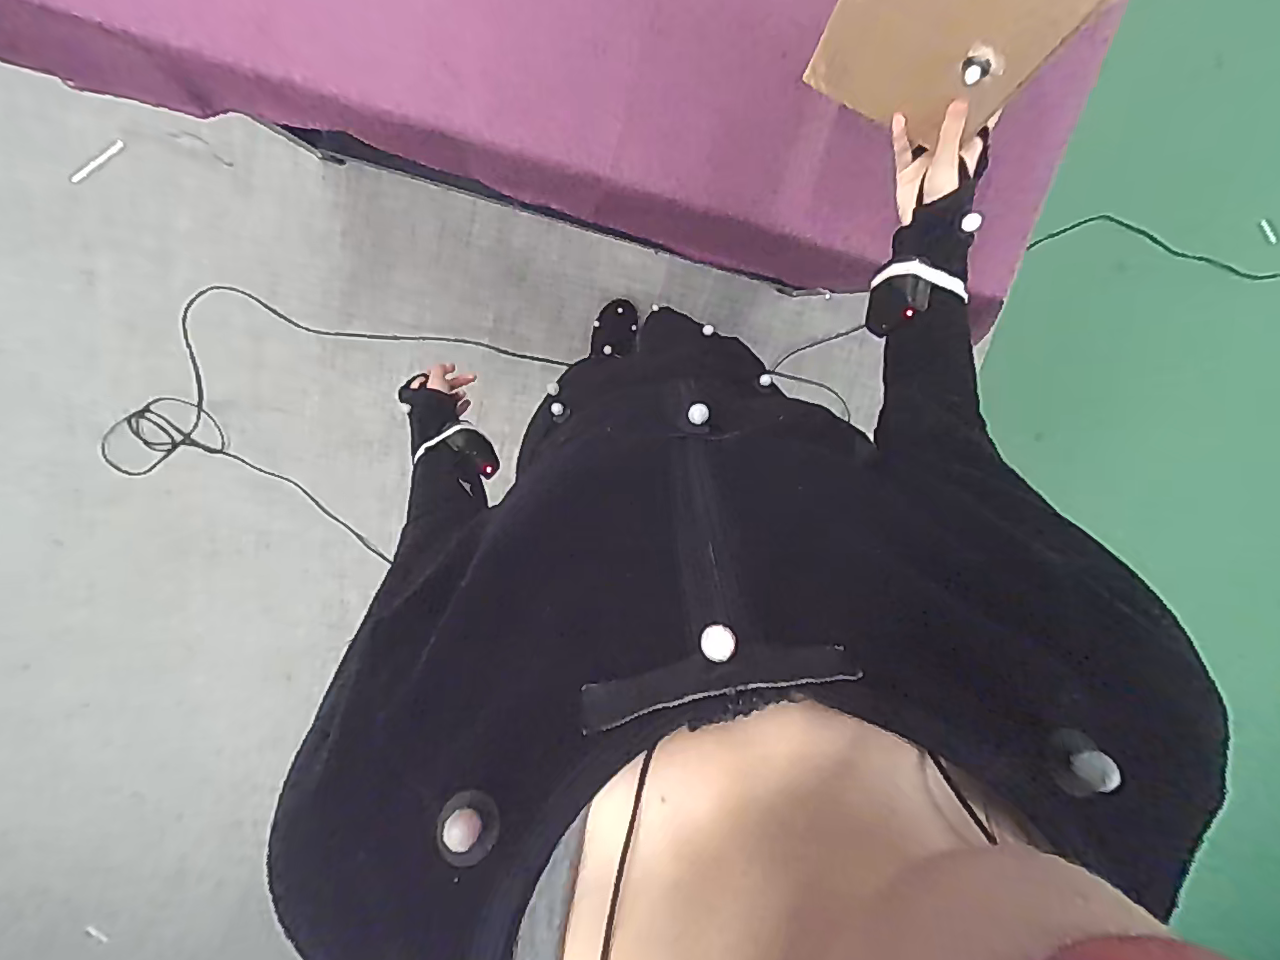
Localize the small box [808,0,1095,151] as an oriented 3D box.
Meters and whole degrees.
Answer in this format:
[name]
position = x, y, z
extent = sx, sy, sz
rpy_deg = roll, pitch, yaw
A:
[small box]
position = 0.264, -0.428, 0.444
extent = 0.176, 0.179, 0.168
rpy_deg = 26, 85, -1
